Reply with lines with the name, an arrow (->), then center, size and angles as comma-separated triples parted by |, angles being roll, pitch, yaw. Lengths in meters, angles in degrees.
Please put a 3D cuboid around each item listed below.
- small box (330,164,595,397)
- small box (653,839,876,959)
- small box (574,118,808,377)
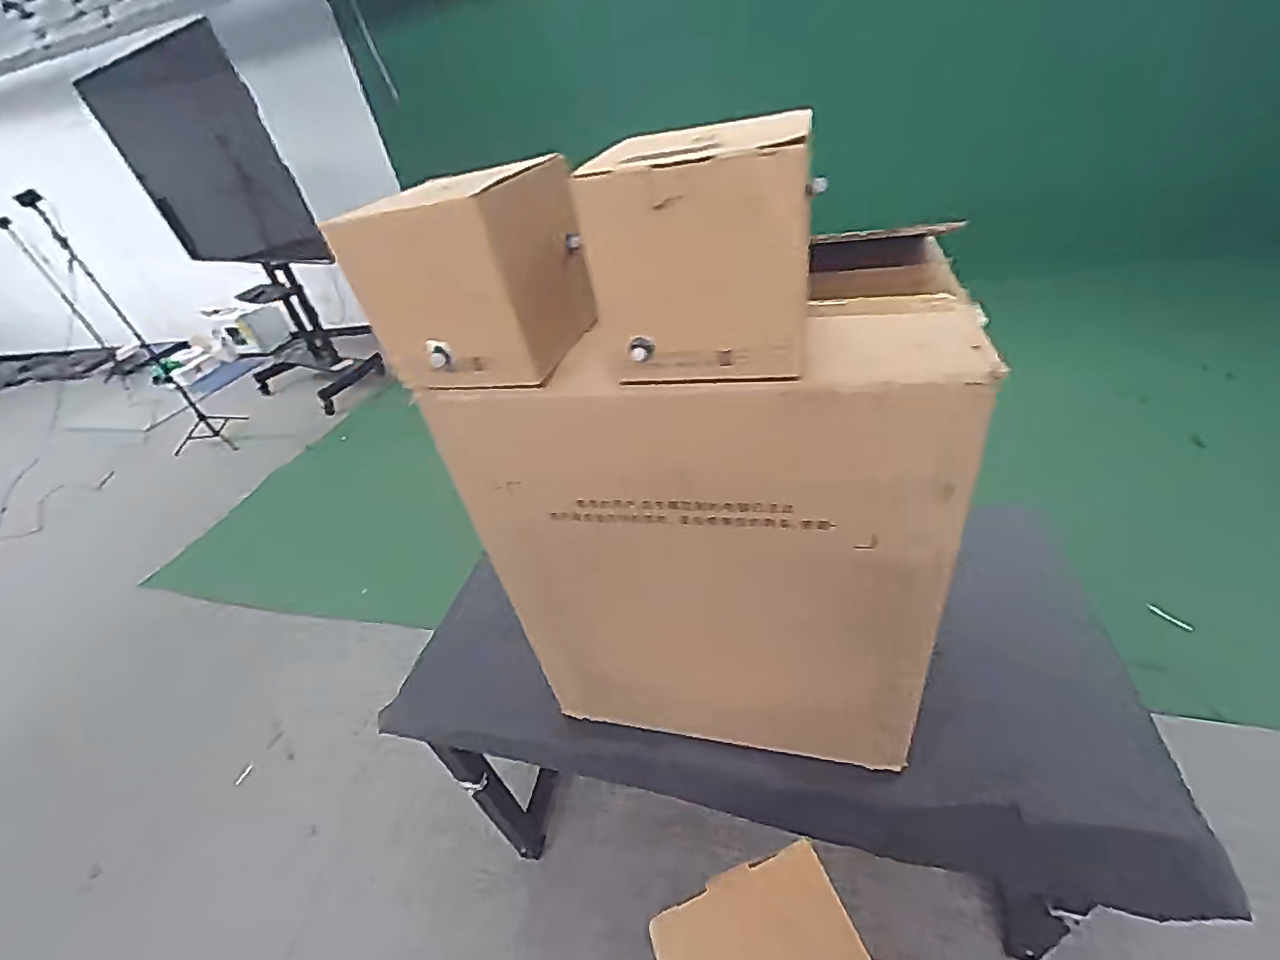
small box -> -0.158, -0.201, 0.553 | 0.168, 0.176, 0.179 | 0, 39, 20
small box -> 0.133, 0.466, 0.467 | 0.168, 0.176, 0.179 | -27, 35, -5
small box -> 0.062, -0.200, 0.481 | 0.168, 0.176, 0.179 | 1, 38, 17
